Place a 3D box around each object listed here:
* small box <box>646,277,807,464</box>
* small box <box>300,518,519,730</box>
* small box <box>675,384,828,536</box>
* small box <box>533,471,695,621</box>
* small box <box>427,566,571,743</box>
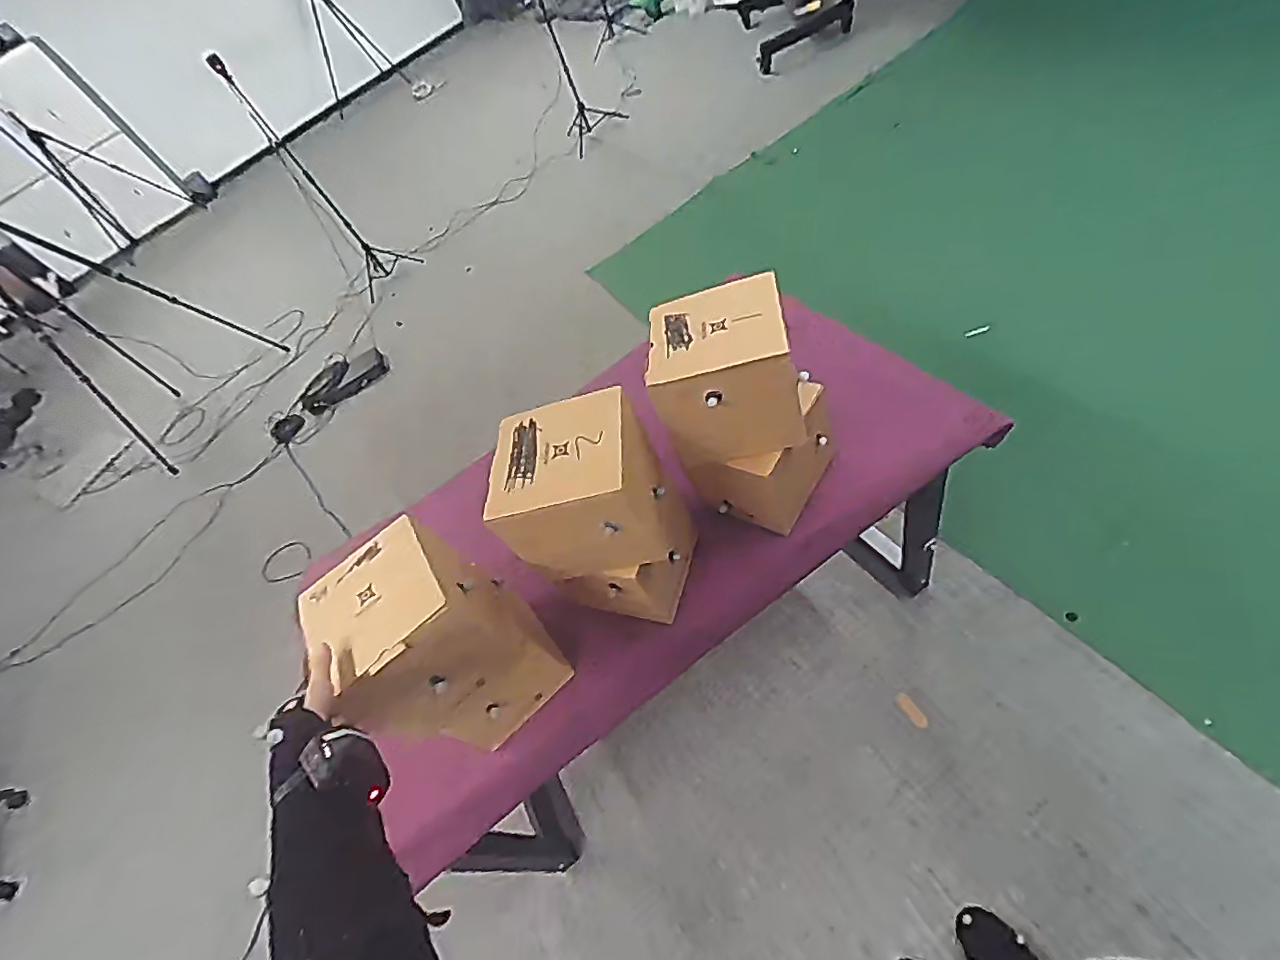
[{"bbox_3d":[0.121,-0.141,0.745,0.179,0.176,0.168,-11,50,18],"label":"small box"},{"bbox_3d":[-0.281,0.187,0.678,0.168,0.176,0.179,-39,49,-8],"label":"small box"},{"bbox_3d":[0.186,-0.043,0.859,0.168,0.176,0.179,21,66,36],"label":"small box"},{"bbox_3d":[-0.028,0.105,0.842,0.179,0.176,0.168,5,57,27],"label":"small box"},{"bbox_3d":[-0.234,0.268,0.814,0.168,0.176,0.179,-42,49,-10],"label":"small box"}]
